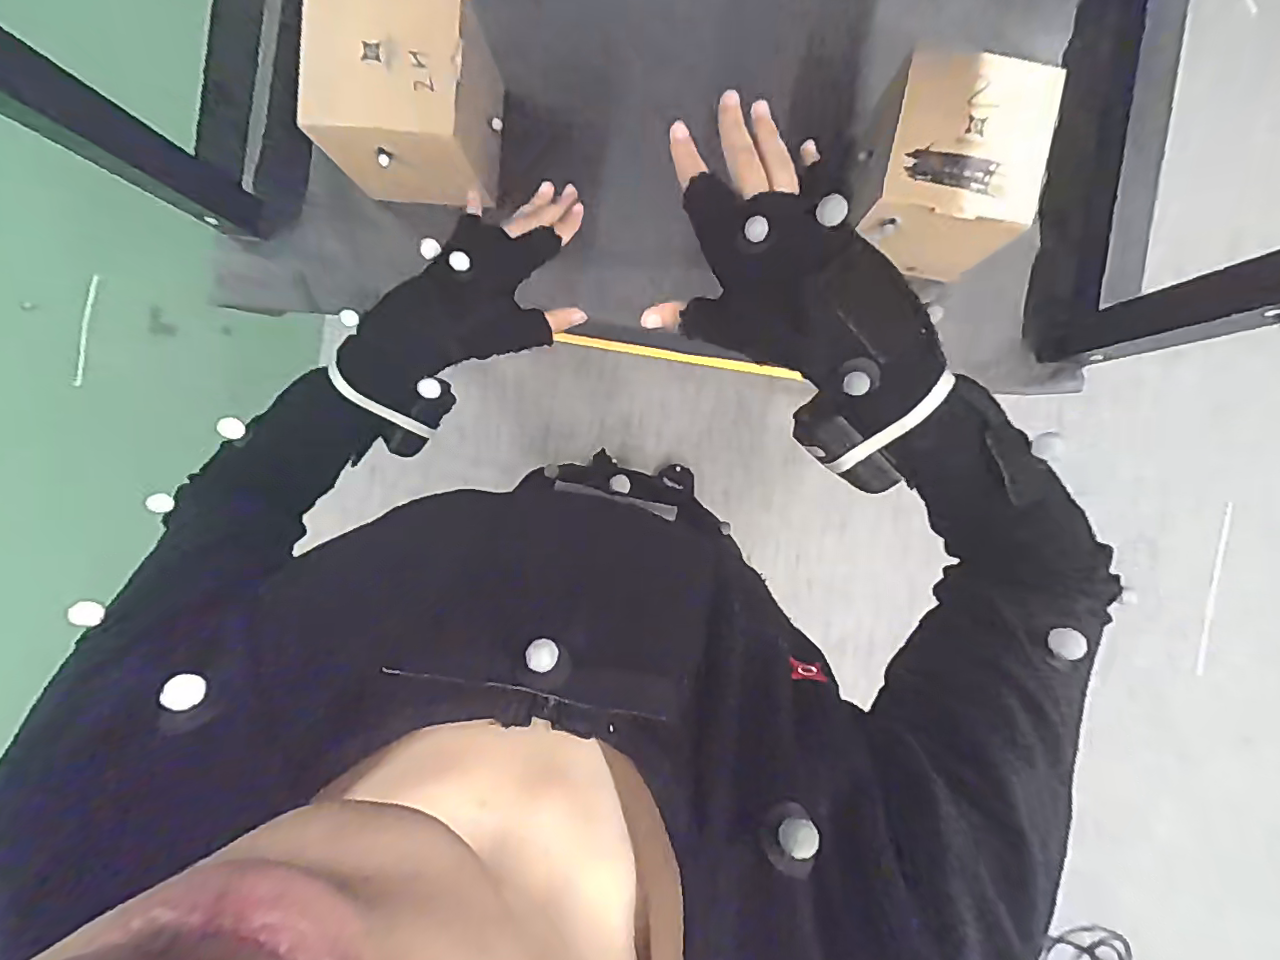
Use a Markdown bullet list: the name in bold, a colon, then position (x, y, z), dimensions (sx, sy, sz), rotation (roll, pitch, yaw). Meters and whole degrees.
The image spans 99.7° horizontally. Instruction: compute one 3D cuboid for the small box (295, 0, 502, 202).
- **small box**: position (-0.283, -0.467, 0.666), dimensions (0.179, 0.176, 0.168), rotation (4, 92, 0)
